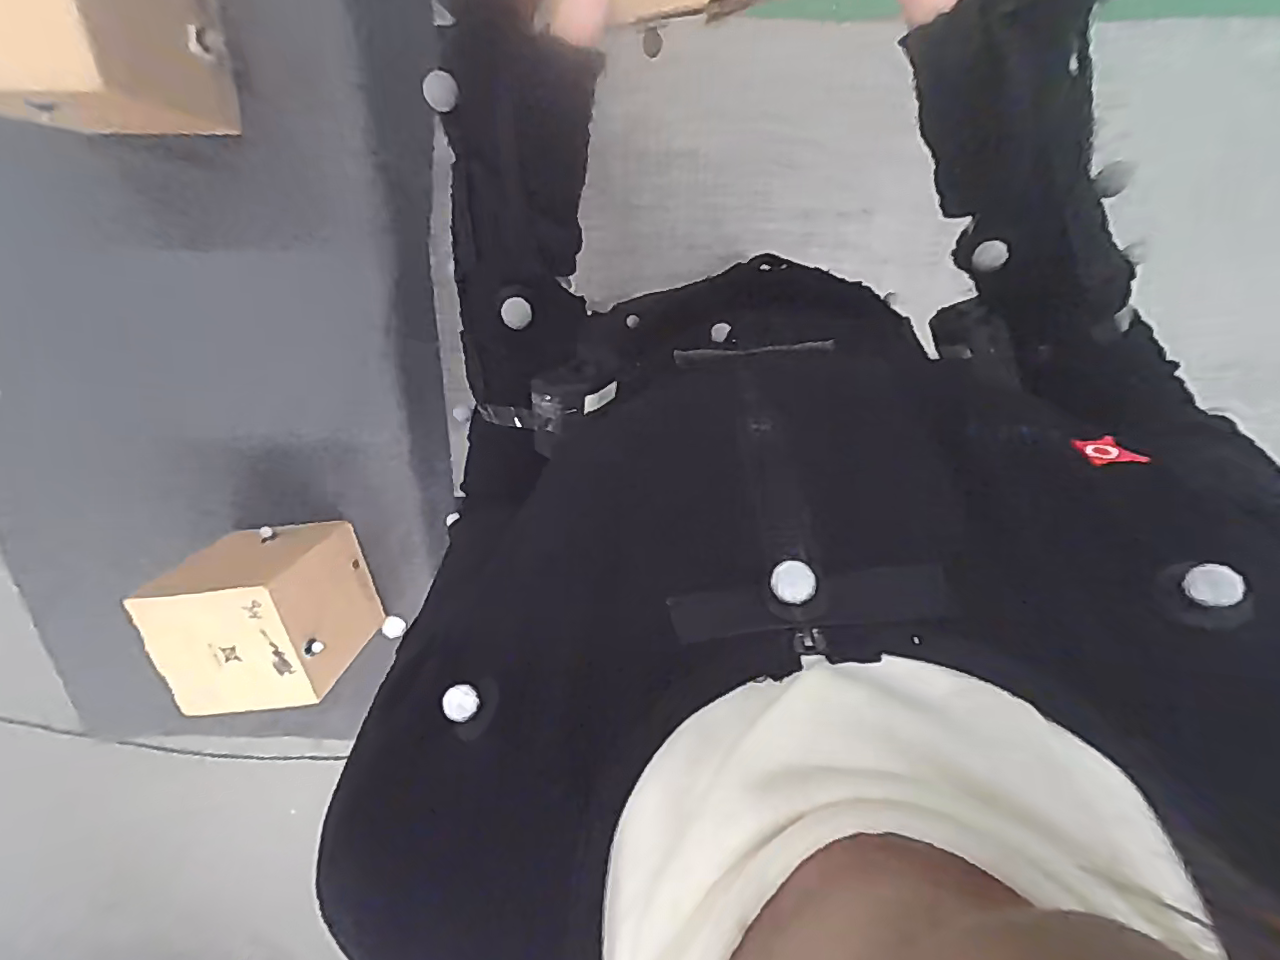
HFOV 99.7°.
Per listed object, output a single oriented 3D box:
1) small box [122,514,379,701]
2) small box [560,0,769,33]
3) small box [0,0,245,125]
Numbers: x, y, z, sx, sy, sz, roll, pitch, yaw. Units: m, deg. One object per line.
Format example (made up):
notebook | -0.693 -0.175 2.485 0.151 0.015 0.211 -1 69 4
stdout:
small box | -0.476 0.155 0.692 0.179 0.176 0.168 -6 113 6
small box | 0.043 -0.309 0.220 0.168 0.176 0.179 -5 129 8
small box | -0.499 -0.420 0.467 0.179 0.176 0.168 1 113 0
